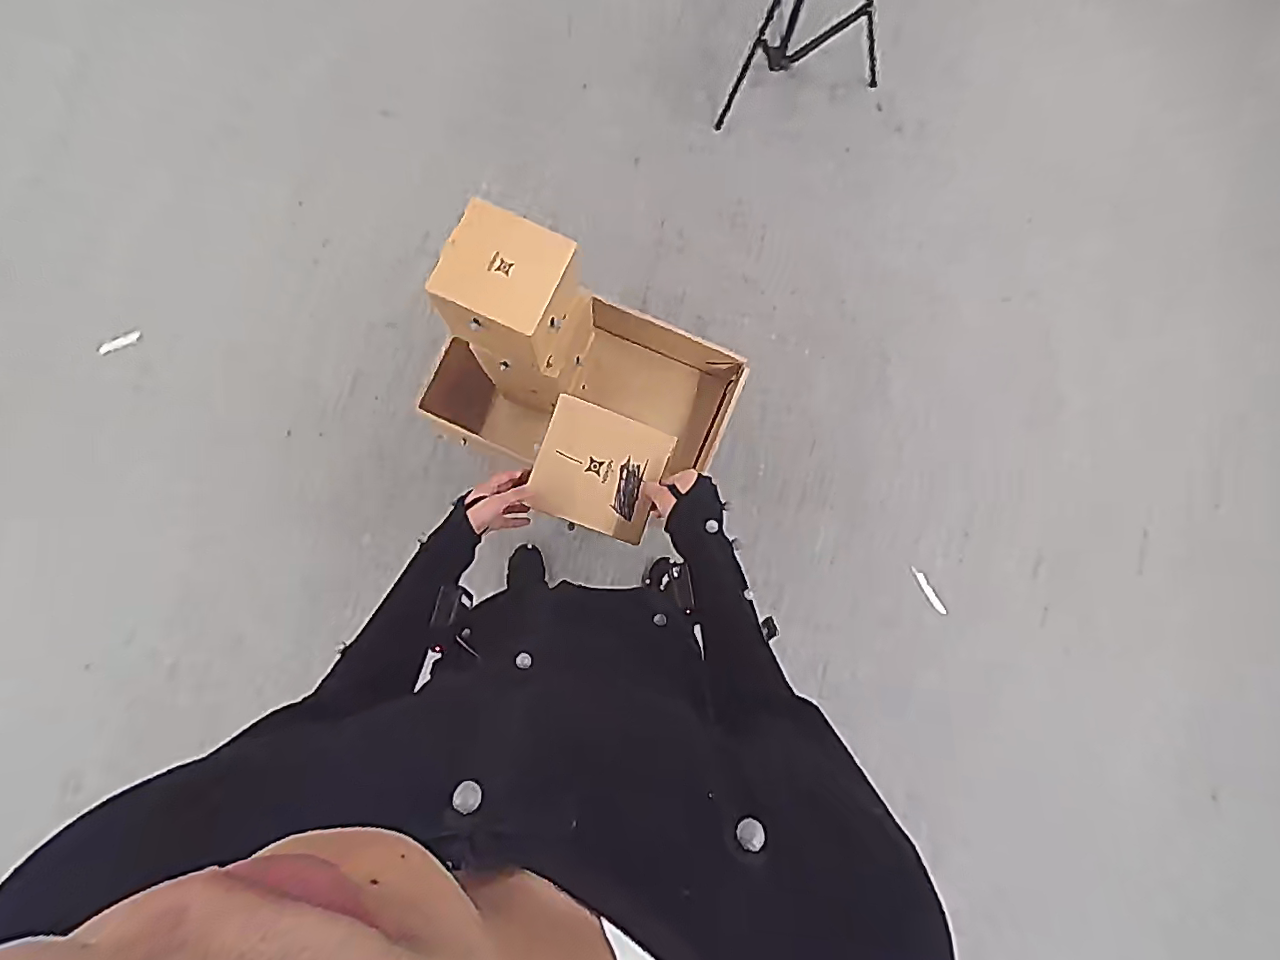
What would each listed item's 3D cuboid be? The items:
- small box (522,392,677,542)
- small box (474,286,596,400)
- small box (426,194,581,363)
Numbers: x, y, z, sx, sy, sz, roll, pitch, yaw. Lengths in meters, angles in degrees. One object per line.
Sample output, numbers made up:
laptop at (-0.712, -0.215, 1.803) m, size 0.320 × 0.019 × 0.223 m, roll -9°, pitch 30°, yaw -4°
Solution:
small box at (-0.063, -0.017, 0.823) m, size 0.179 × 0.176 × 0.168 m, roll 19°, pitch 86°, yaw -6°
small box at (-0.193, -0.278, 1.032) m, size 0.168 × 0.176 × 0.179 m, roll 21°, pitch 81°, yaw -1°
small box at (-0.204, -0.309, 0.871) m, size 0.179 × 0.176 × 0.168 m, roll 24°, pitch 82°, yaw -1°
